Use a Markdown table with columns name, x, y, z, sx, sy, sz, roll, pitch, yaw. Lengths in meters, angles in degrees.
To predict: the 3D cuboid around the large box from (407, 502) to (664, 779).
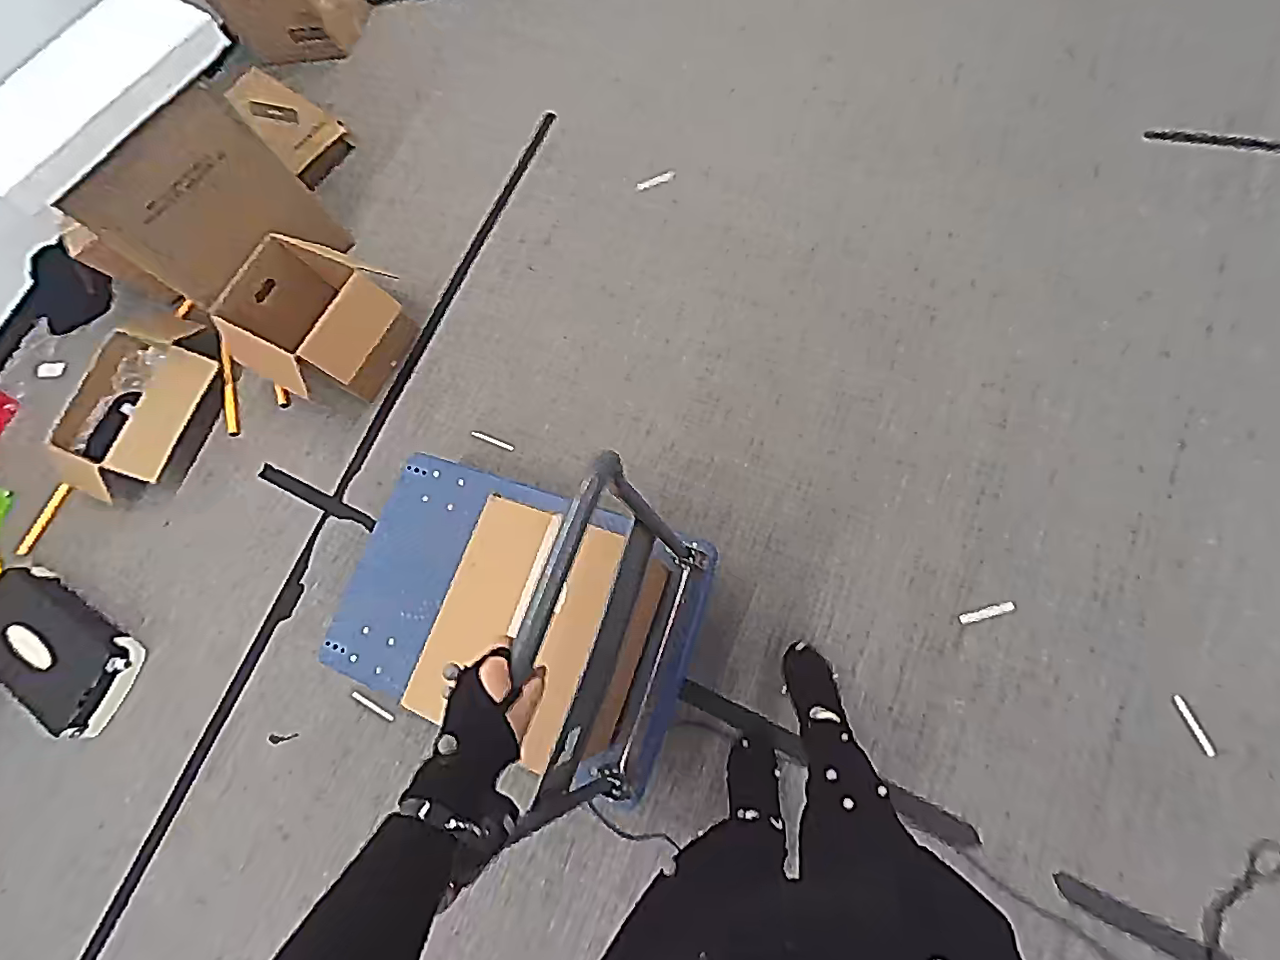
| name | x | y | z | sx | sy | sz | roll | pitch | yaw |
| --- | --- | --- | --- | --- | --- | --- | --- | --- | --- |
| large box | -0.177 | 0.309 | 1.085 | 0.320 | 0.320 | 0.408 | 16 | 75 | 18 |
